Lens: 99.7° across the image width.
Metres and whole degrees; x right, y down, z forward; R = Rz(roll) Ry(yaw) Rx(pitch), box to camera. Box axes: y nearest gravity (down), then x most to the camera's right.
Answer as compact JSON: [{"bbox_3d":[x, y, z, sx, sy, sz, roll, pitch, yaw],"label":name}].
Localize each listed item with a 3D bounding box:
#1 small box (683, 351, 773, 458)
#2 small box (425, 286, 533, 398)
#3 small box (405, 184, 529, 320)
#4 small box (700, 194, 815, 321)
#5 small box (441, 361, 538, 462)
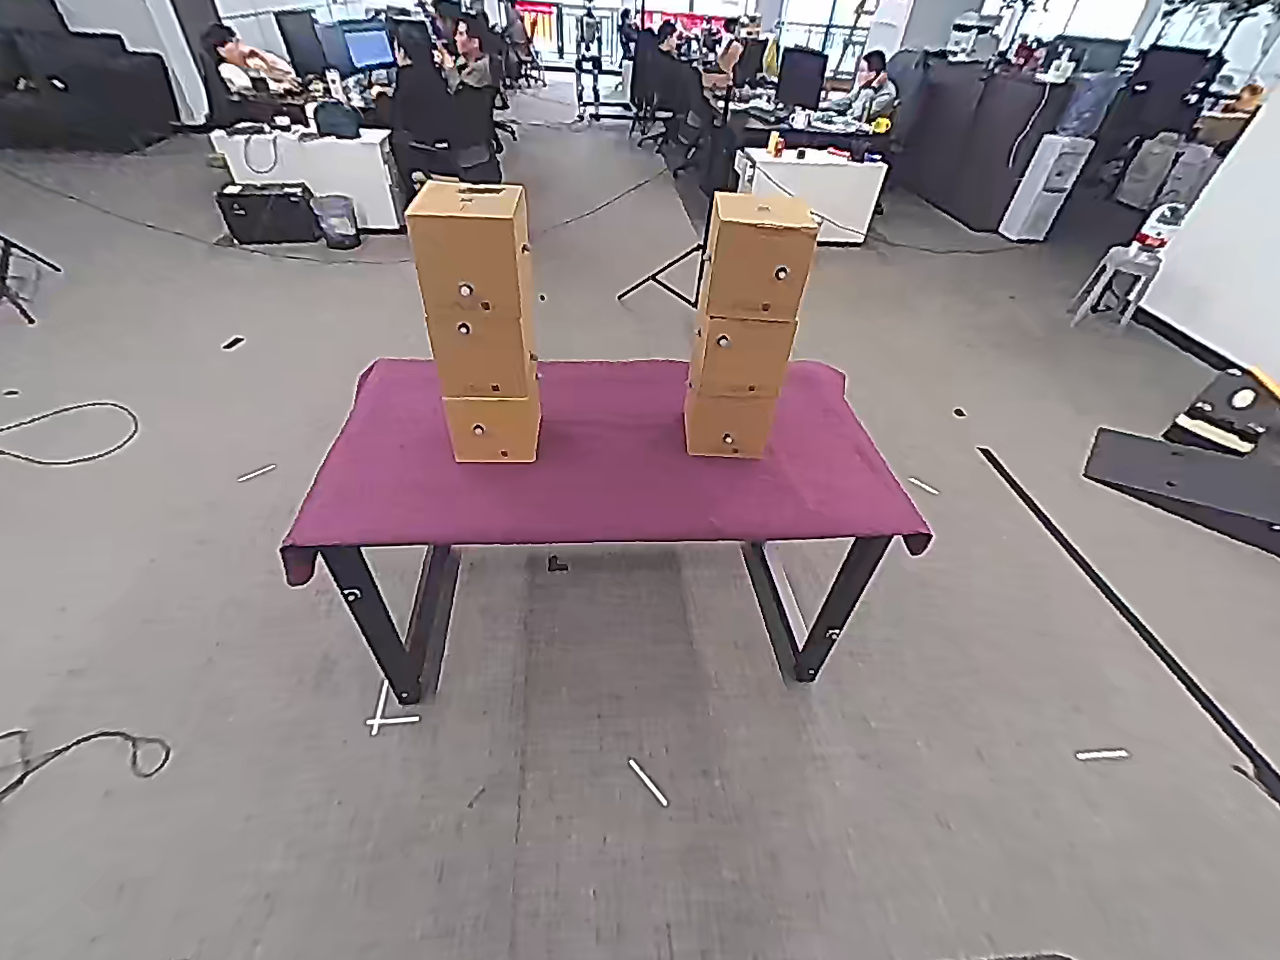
[{"bbox_3d":[0.190,-0.171,1.219,0.168,0.176,0.179,2,42,-1],"label":"small box"},{"bbox_3d":[-0.301,-0.276,1.052,0.168,0.176,0.179,-1,42,-6],"label":"small box"},{"bbox_3d":[-0.287,-0.397,0.940,0.168,0.176,0.179,0,43,-5],"label":"small box"},{"bbox_3d":[0.205,-0.408,0.995,0.168,0.176,0.179,5,41,-1],"label":"small box"},{"bbox_3d":[-0.310,-0.151,1.157,0.168,0.176,0.179,0,42,-5],"label":"small box"}]
